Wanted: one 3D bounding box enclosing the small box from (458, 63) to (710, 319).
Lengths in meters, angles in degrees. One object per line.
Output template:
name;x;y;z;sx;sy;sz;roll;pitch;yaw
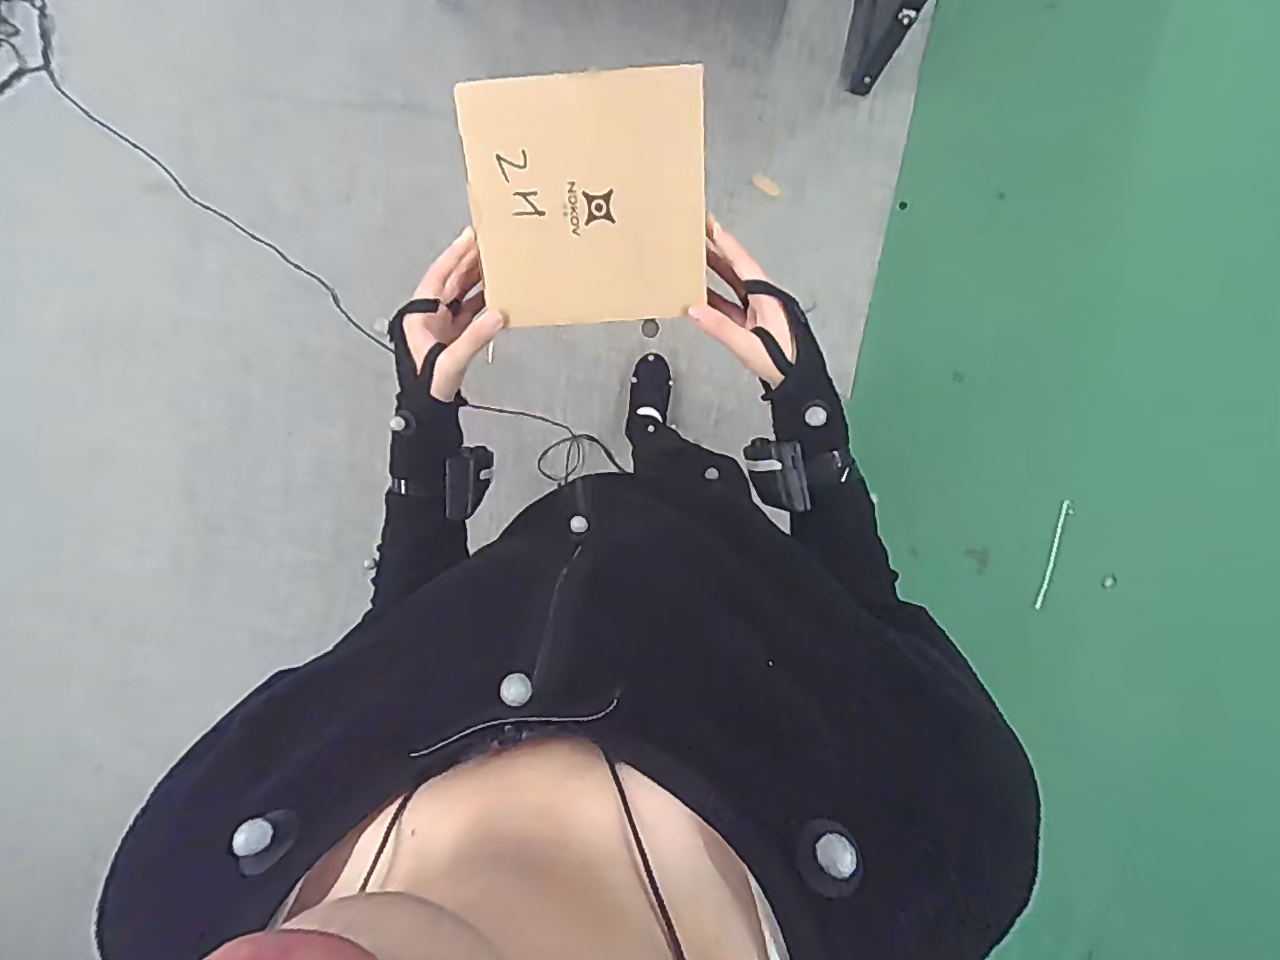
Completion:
small box;-0.036;-0.234;0.472;0.179;0.176;0.168;-2;110;2
